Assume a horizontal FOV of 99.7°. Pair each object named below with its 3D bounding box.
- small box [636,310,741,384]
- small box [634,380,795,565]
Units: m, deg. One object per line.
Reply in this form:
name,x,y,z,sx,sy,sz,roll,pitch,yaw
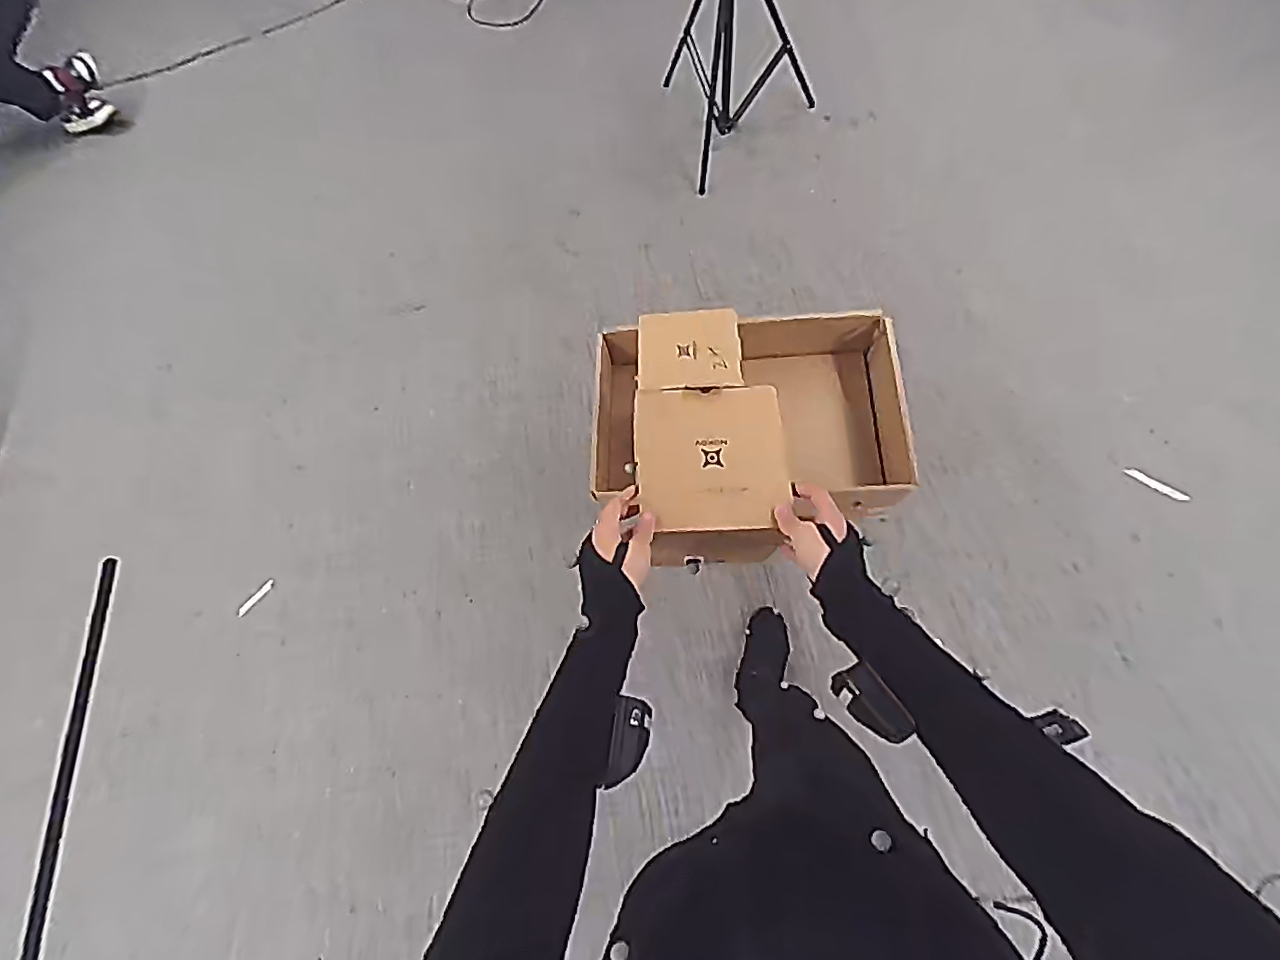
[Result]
small box,0.090,-0.185,0.984,0.179,0.176,0.168,-1,69,6
small box,0.076,-0.003,0.661,0.168,0.176,0.179,-2,67,0
